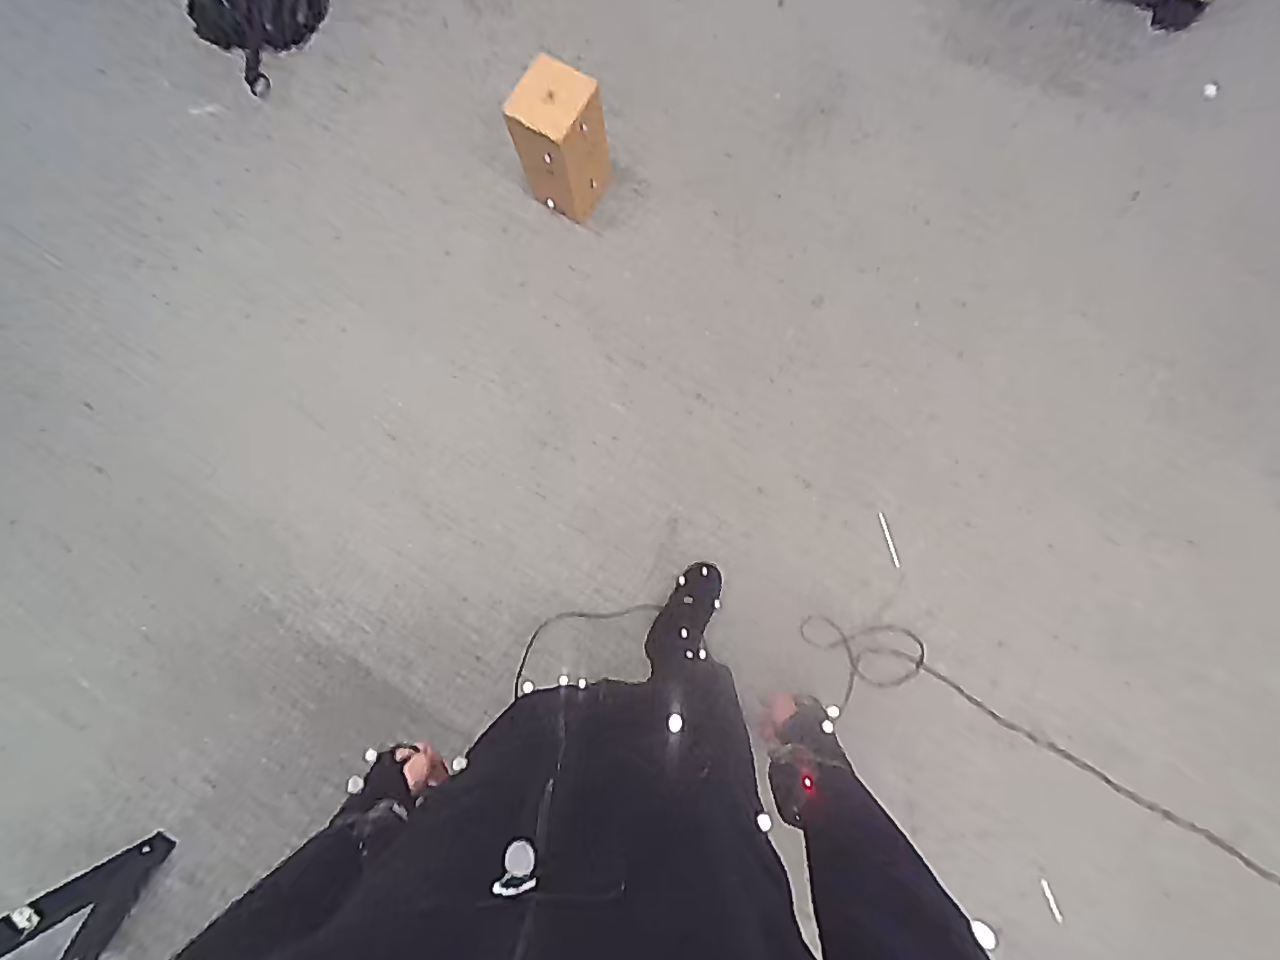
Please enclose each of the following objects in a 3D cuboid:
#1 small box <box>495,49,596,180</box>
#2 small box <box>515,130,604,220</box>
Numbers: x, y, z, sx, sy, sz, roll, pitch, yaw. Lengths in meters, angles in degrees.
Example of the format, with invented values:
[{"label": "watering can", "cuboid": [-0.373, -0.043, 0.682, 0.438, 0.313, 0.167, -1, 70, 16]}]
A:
[{"label": "small box", "cuboid": [-0.221, -0.885, 1.326, 0.168, 0.176, 0.179, 29, 84, 6]}, {"label": "small box", "cuboid": [-0.212, -0.864, 1.486, 0.168, 0.176, 0.179, 31, 85, 7]}]
